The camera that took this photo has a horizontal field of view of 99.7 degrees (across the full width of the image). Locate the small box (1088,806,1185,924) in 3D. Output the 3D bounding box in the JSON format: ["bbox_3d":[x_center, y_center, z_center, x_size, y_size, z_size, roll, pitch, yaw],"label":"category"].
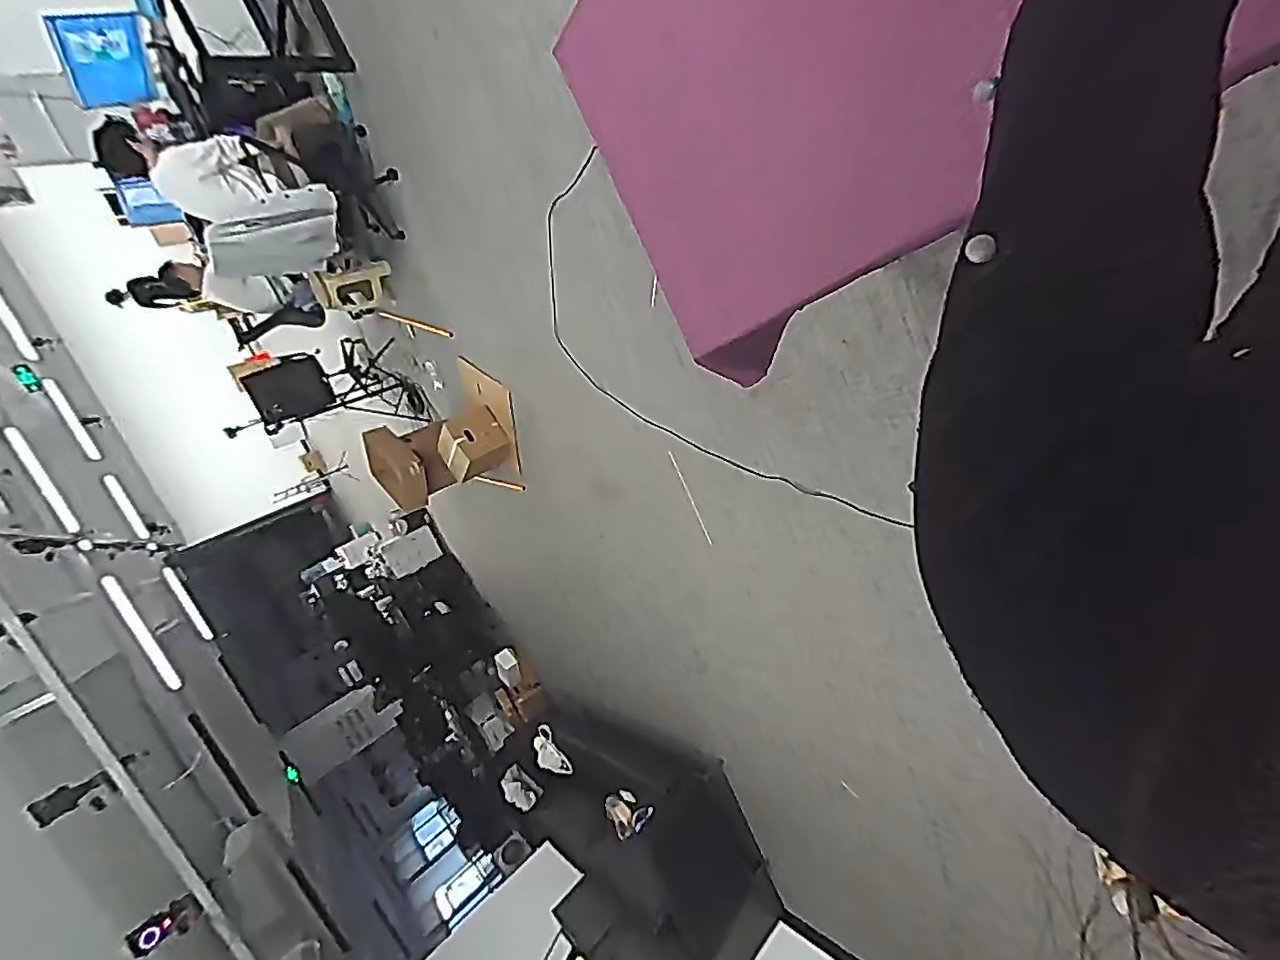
[{"bbox_3d":[1.385,1.055,1.503,0.179,0.176,0.168,-1,113,52],"label":"small box"}]
